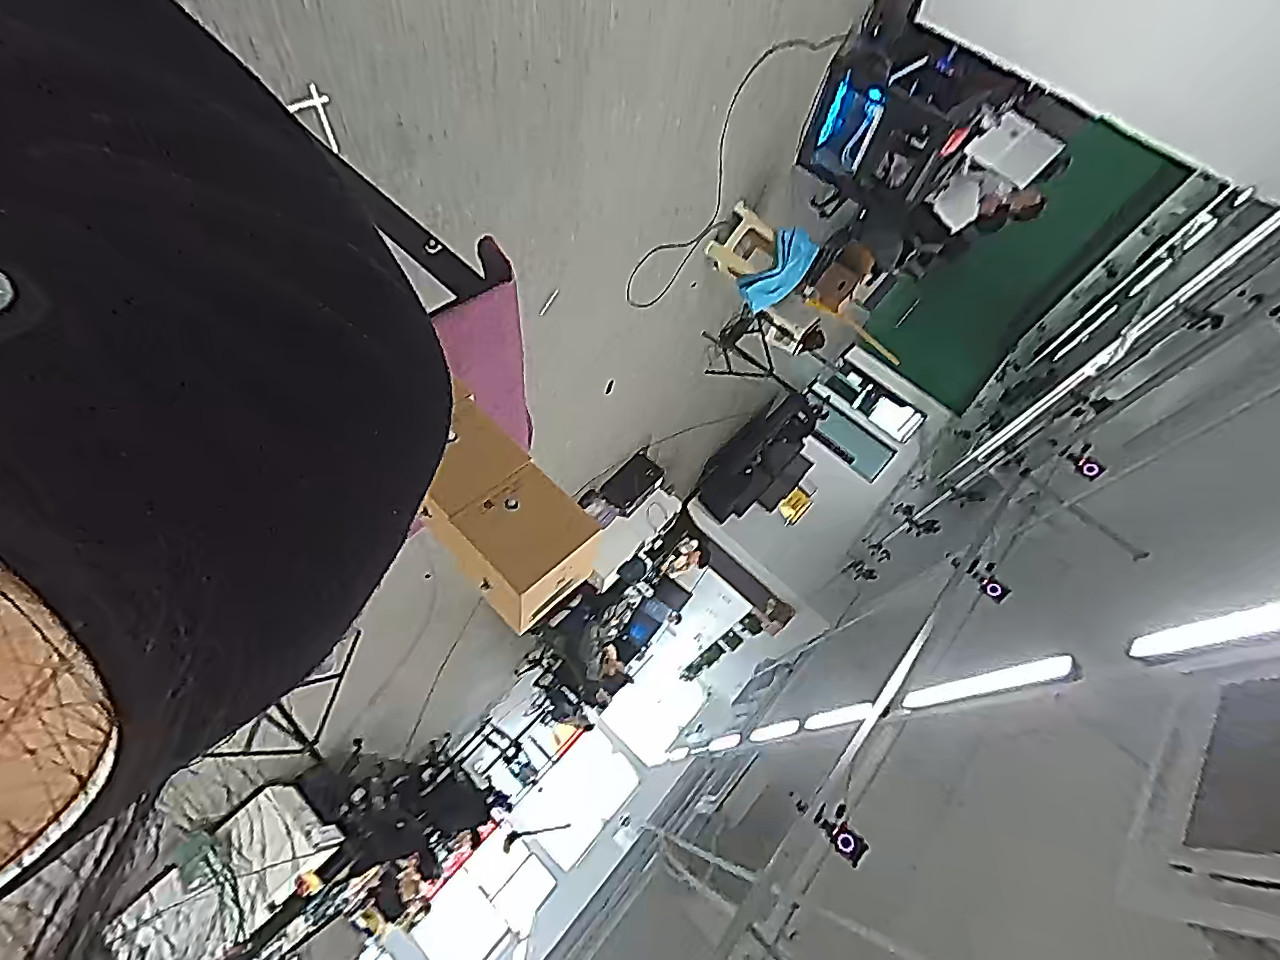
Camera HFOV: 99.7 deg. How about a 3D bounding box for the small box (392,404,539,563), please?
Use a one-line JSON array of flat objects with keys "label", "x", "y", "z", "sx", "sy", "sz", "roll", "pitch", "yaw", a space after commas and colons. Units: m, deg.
[{"label": "small box", "x": -0.293, "y": 0.004, "z": 0.931, "sx": 0.168, "sy": 0.176, "sz": 0.179, "roll": -40, "pitch": 162, "yaw": -29}]
